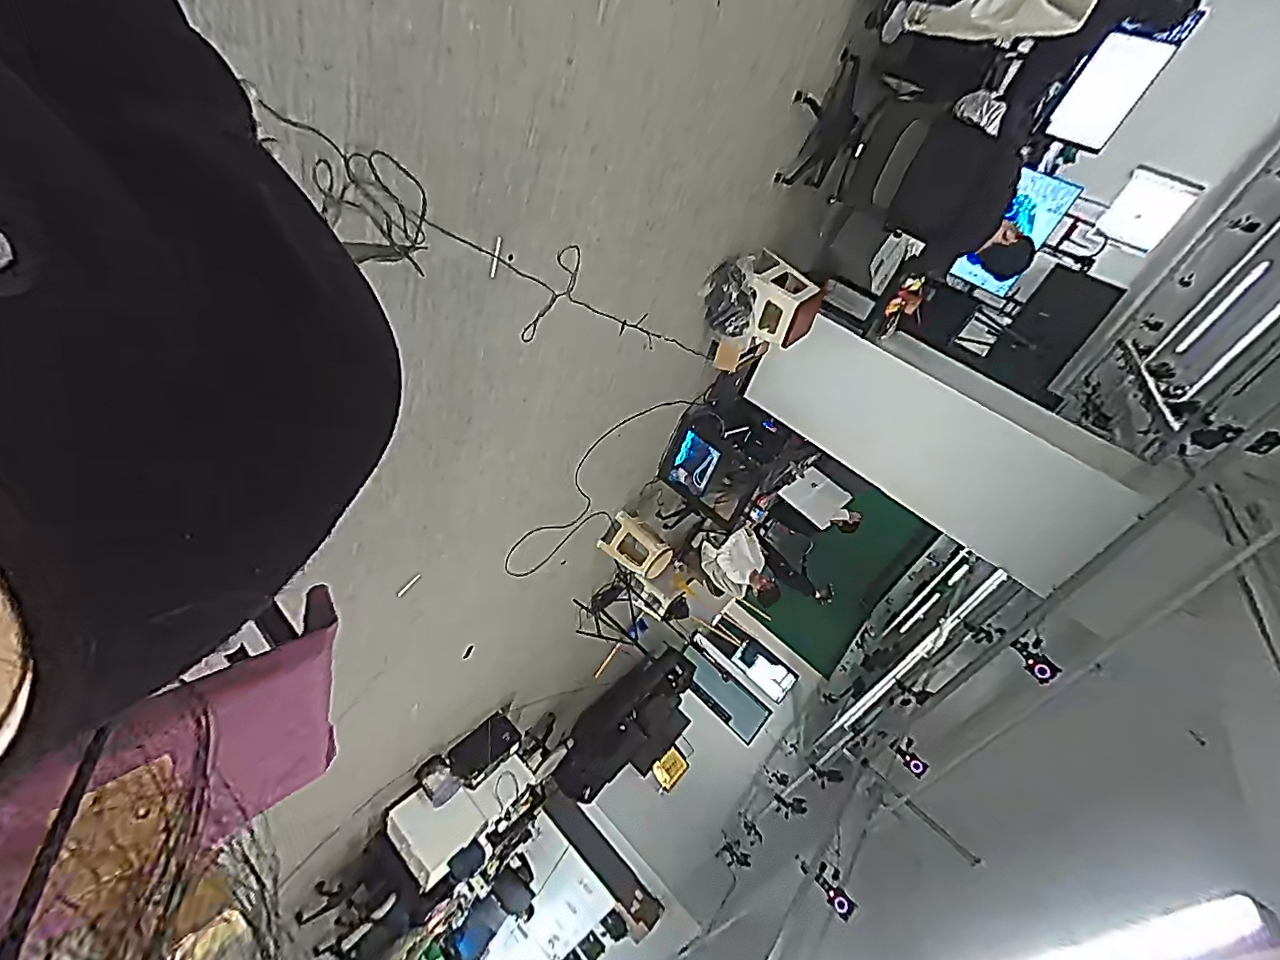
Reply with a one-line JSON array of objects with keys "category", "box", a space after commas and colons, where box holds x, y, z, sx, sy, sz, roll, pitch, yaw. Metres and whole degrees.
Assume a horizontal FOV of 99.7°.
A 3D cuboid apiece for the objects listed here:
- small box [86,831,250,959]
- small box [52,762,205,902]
[{"category": "small box", "box": [-0.829, 0.770, 0.958, 0.168, 0.176, 0.179, -26, 148, -47]}, {"category": "small box", "box": [-0.947, 0.669, 1.013, 0.168, 0.176, 0.179, -24, 147, -49]}]
